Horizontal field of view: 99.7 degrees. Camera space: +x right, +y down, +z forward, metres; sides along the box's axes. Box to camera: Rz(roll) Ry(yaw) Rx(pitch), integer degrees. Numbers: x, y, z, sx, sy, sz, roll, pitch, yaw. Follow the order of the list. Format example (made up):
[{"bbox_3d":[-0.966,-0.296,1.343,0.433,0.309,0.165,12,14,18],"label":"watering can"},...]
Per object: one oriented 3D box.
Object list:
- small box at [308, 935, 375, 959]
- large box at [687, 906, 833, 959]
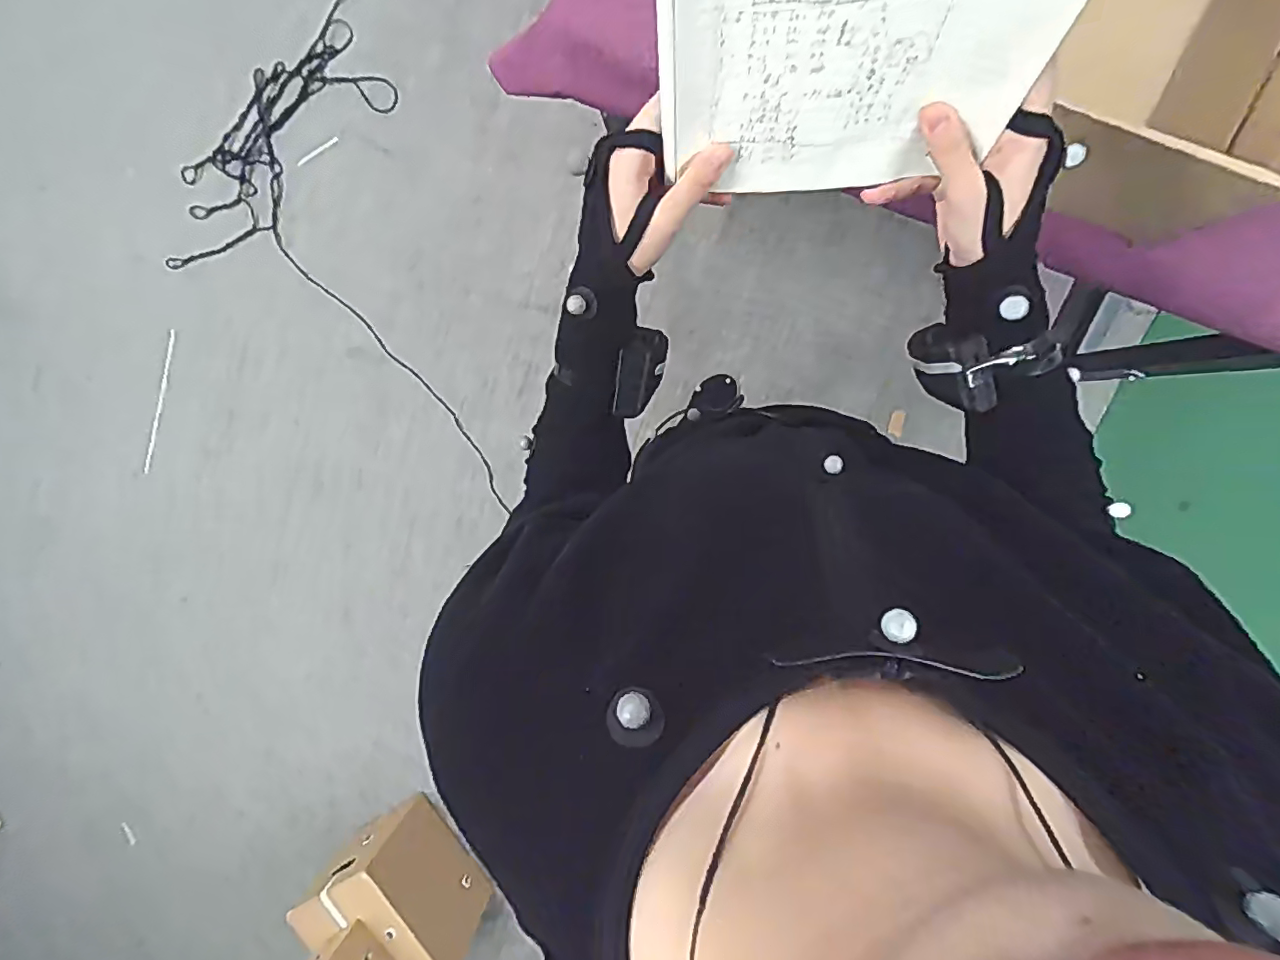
[{"bbox_3d":[-0.793,1.318,1.377,0.168,0.176,0.179,-38,91,11],"label":"small box"},{"bbox_3d":[0.332,1.494,1.522,0.408,0.320,0.320,8,99,4],"label":"large box"}]
